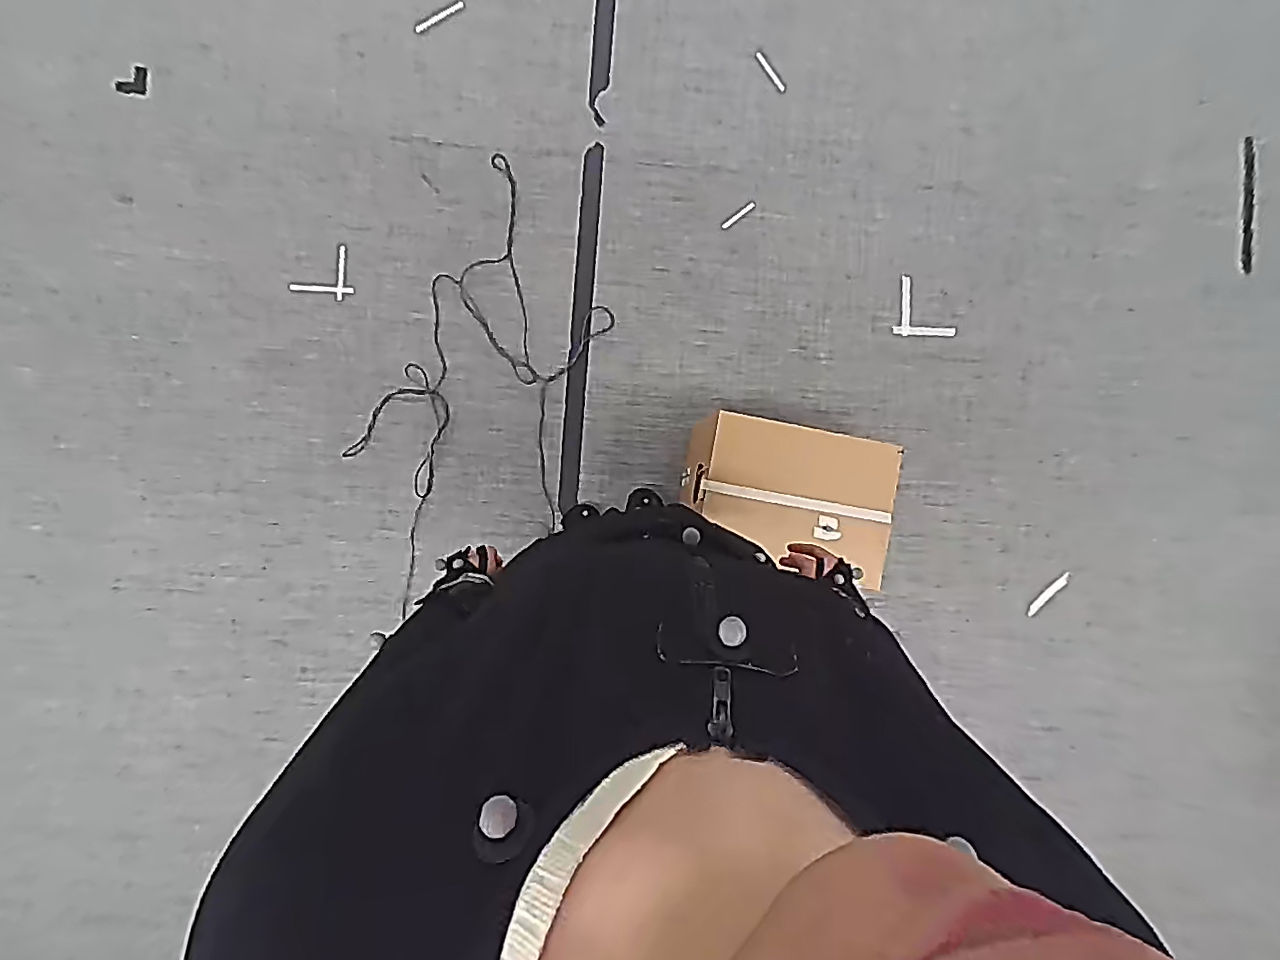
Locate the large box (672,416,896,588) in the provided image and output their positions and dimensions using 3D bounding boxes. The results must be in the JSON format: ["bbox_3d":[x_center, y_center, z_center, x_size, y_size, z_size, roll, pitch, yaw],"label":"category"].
[{"bbox_3d":[0.312,0.051,1.273,0.408,0.320,0.320,10,89,-6],"label":"large box"}]
